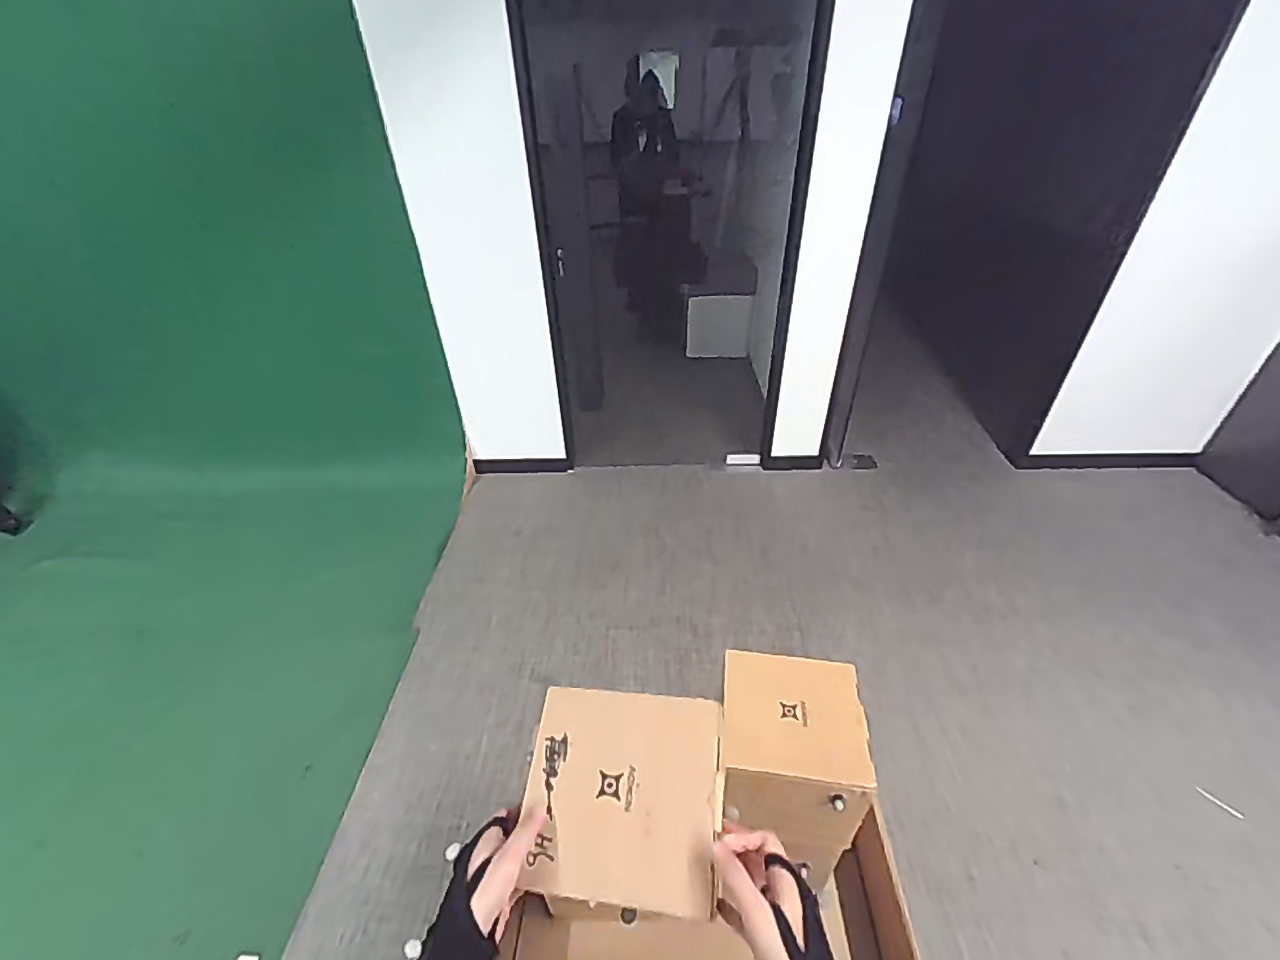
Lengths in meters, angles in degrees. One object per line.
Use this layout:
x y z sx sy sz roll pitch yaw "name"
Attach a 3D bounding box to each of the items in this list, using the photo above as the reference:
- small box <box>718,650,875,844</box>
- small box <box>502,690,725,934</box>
0.191 0.353 0.719 0.179 0.176 0.168 5 37 8 "small box"
-0.007 0.325 0.538 0.179 0.176 0.168 1 53 12 "small box"
